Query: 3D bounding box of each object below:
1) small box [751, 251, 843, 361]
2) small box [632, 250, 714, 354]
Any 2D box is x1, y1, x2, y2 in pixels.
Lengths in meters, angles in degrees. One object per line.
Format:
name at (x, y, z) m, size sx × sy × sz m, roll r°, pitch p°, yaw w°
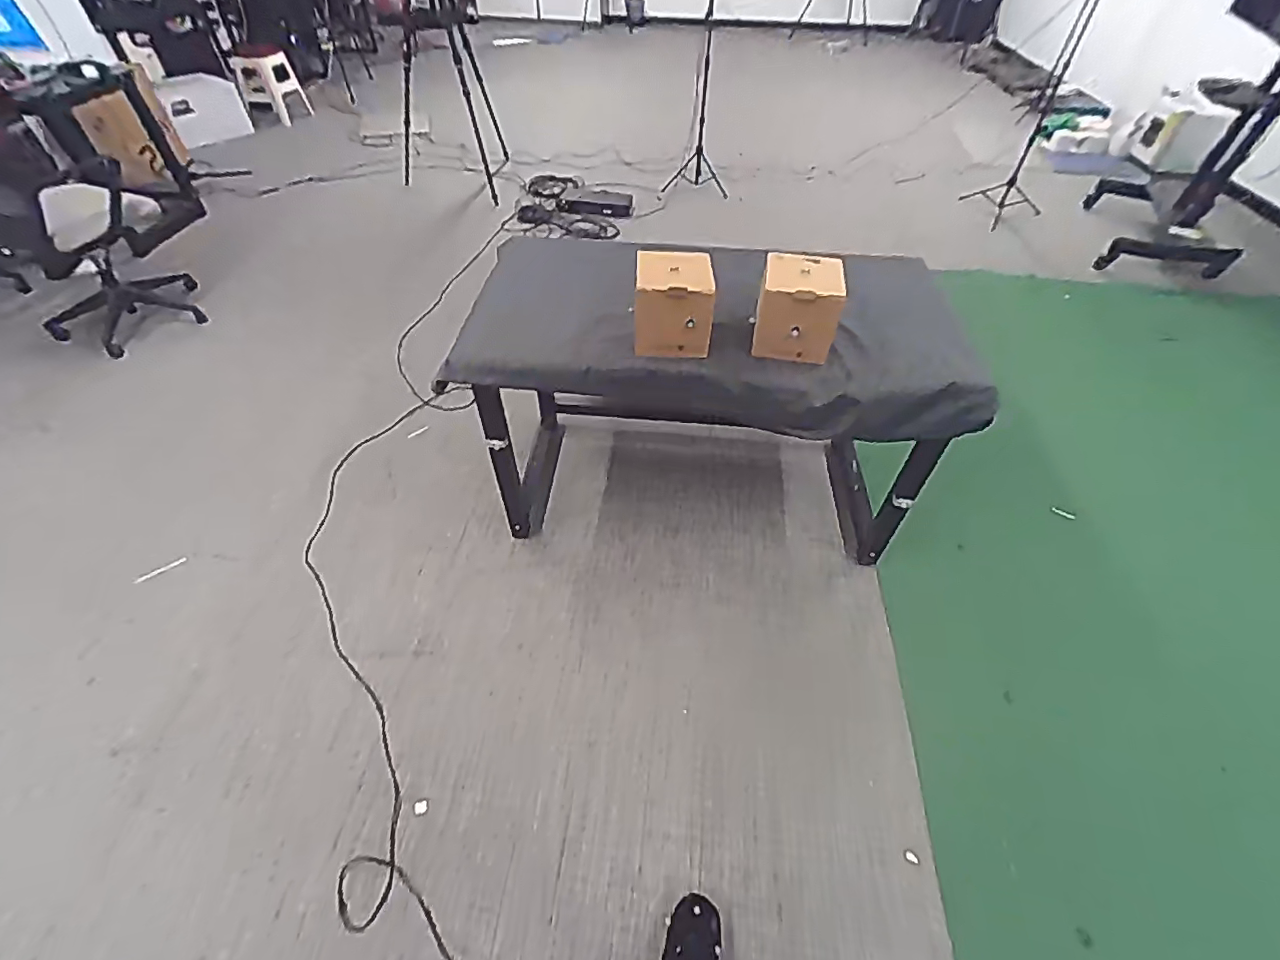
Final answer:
small box at (0.350, -0.390, 1.219) m, size 0.168 × 0.176 × 0.179 m, roll 10°, pitch 49°, yaw 7°
small box at (0.069, -0.399, 1.219) m, size 0.168 × 0.176 × 0.179 m, roll 1°, pitch 46°, yaw -2°
